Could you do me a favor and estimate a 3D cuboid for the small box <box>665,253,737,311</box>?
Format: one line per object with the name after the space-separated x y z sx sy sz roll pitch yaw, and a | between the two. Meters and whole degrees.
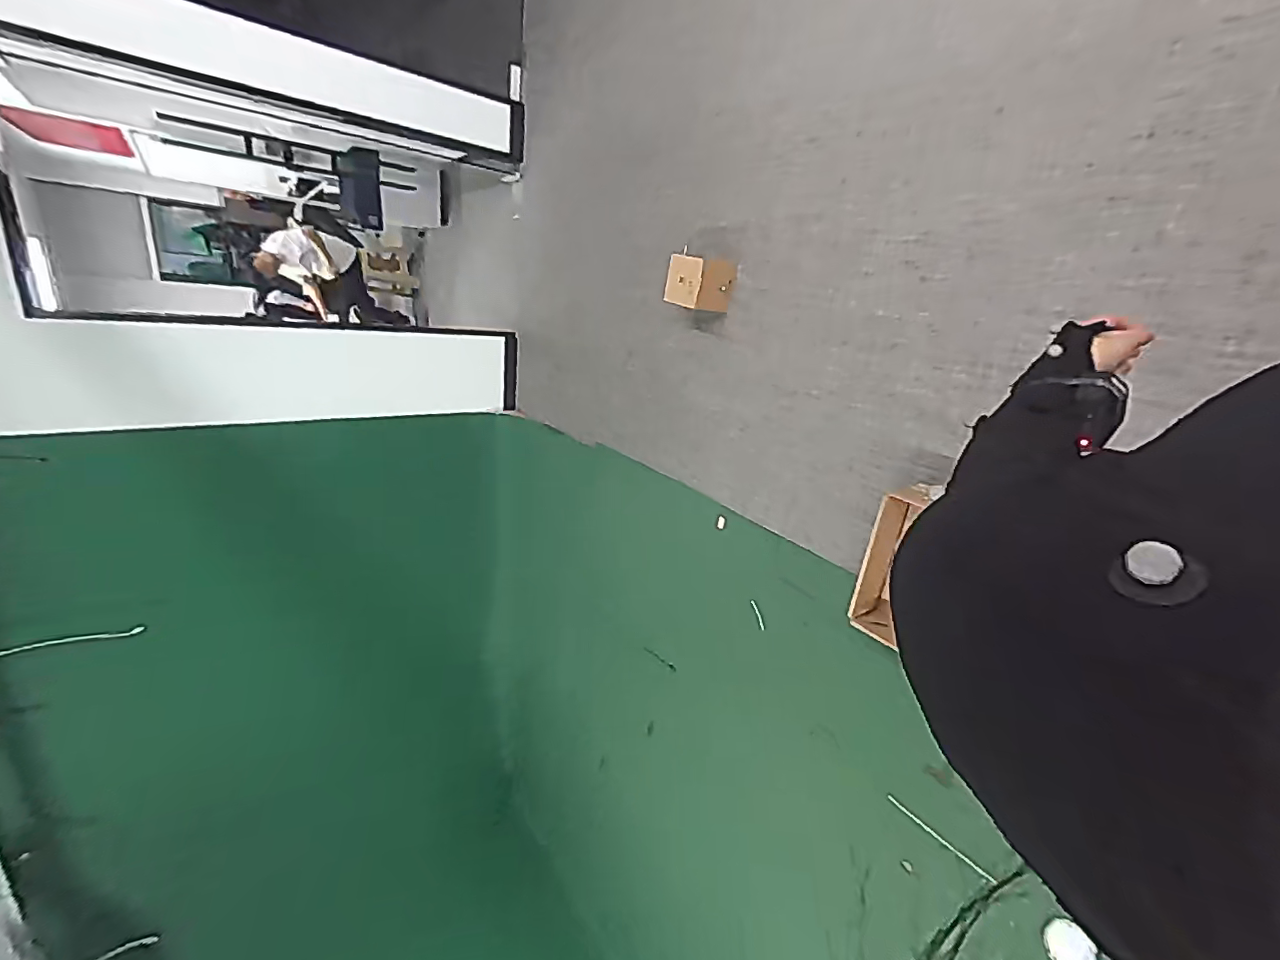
0.219 -0.712 1.952 0.179 0.176 0.168 35 124 43 | small box
